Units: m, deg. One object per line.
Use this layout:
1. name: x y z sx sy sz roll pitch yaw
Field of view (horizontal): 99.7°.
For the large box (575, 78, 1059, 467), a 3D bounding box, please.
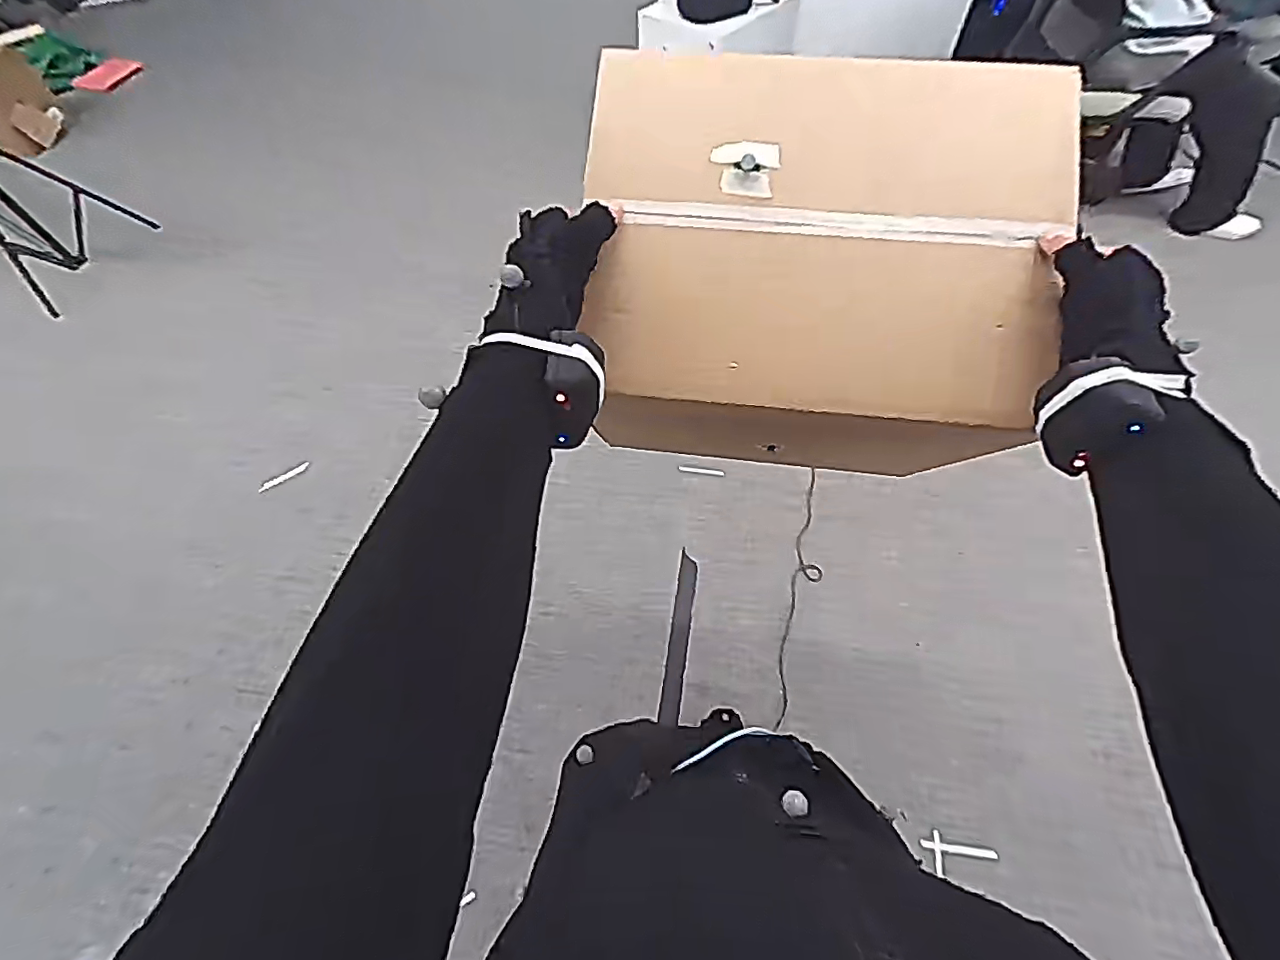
1. large box: 0.166 -0.194 0.620 0.408 0.320 0.320 6 84 5
